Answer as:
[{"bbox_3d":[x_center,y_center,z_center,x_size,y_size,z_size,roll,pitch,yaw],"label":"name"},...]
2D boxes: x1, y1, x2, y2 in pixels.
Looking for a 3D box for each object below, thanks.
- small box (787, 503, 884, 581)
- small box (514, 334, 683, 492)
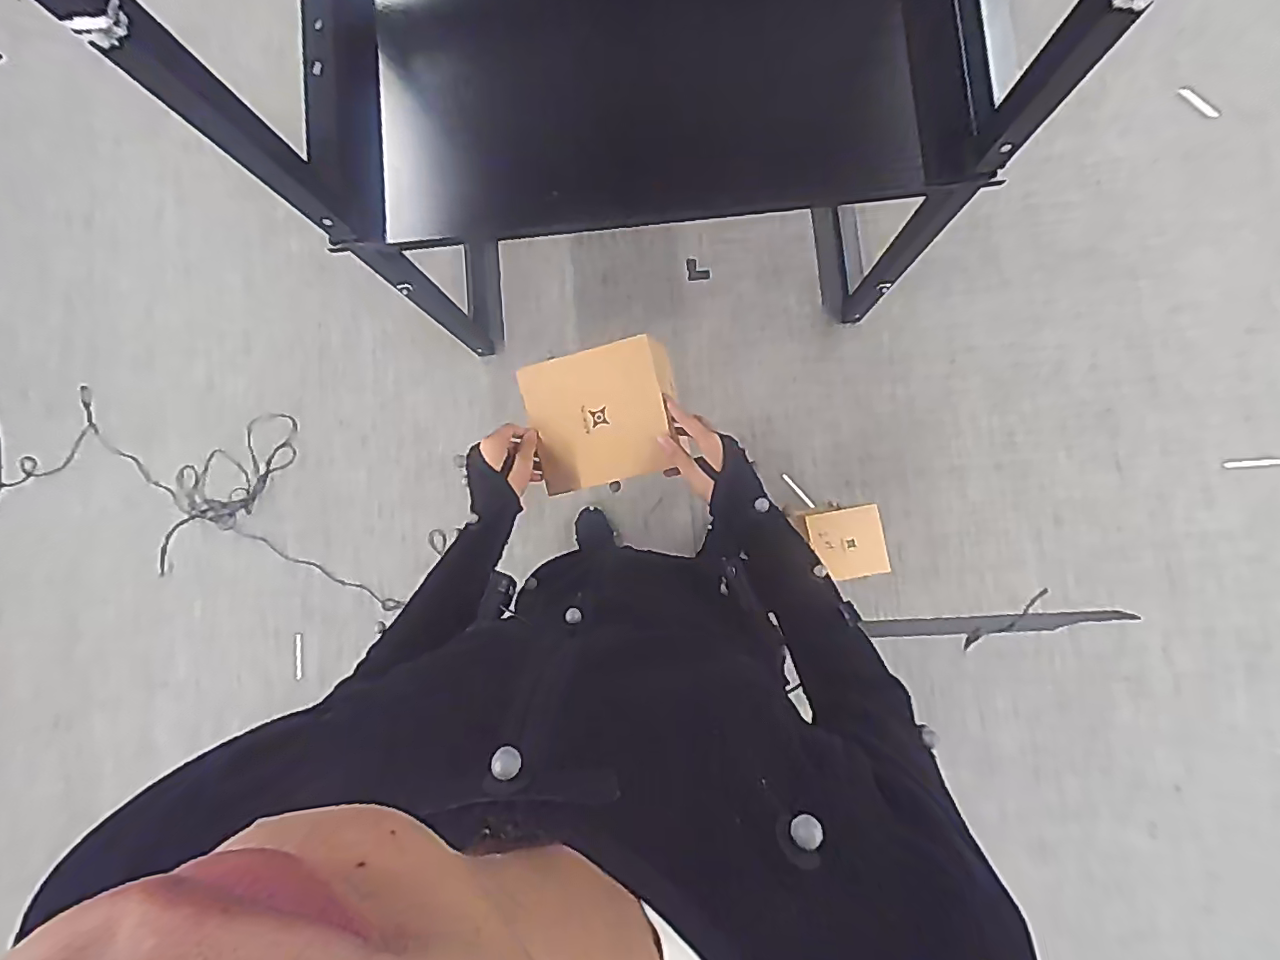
[{"bbox_3d":[0.488,0.151,1.369,0.179,0.176,0.168,-10,86,3],"label":"small box"},{"bbox_3d":[-0.043,-0.092,0.738,0.179,0.176,0.168,-12,97,13],"label":"small box"}]
